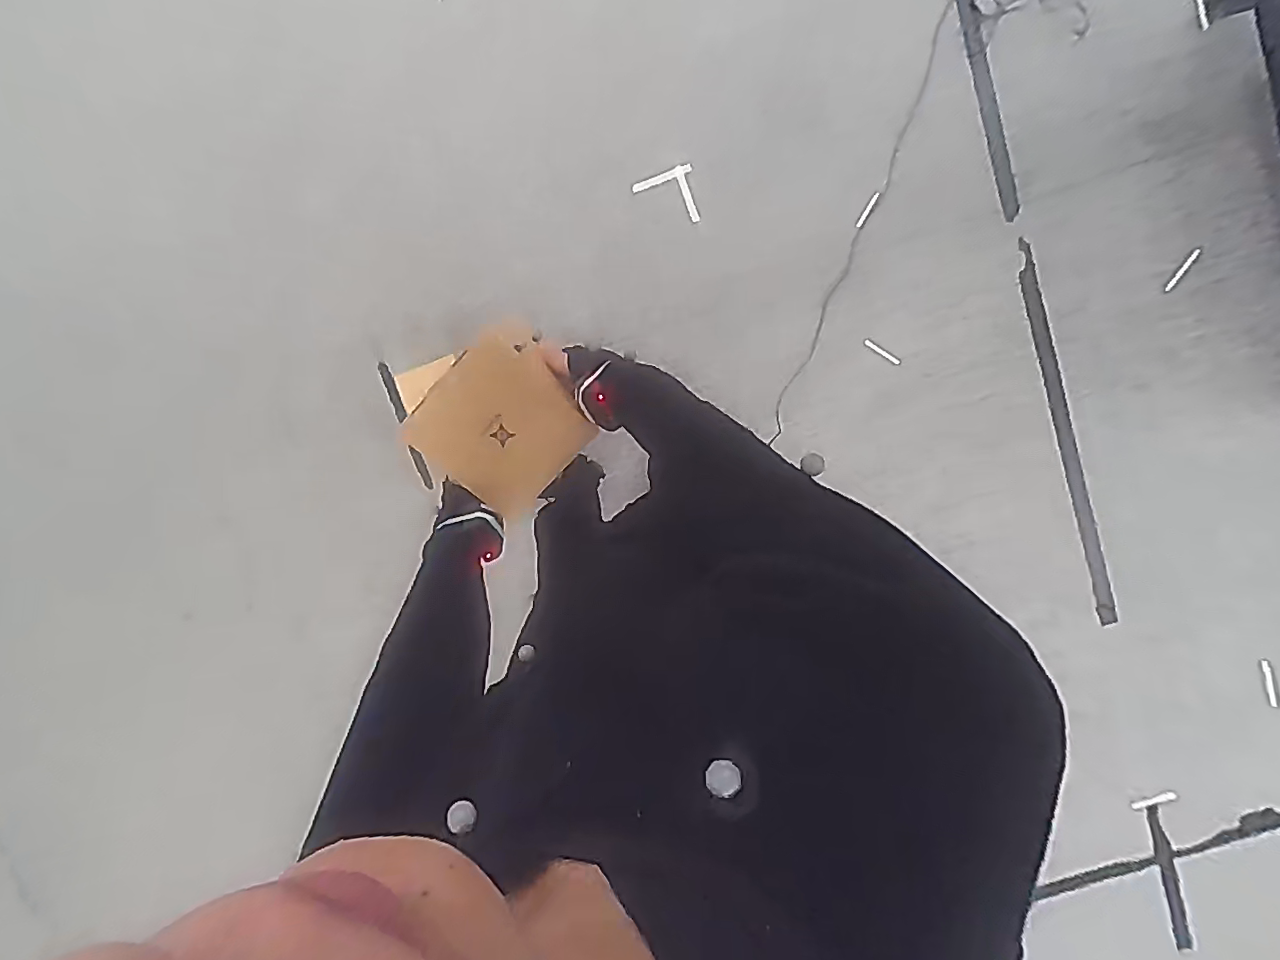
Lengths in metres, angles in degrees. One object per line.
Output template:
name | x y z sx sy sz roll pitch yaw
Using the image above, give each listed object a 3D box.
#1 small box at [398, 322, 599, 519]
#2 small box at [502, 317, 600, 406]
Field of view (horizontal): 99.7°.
small box | -0.169 -0.087 0.705 0.179 0.176 0.168 41 102 -17
small box | -0.182 -0.141 0.859 0.179 0.176 0.168 40 102 -18
